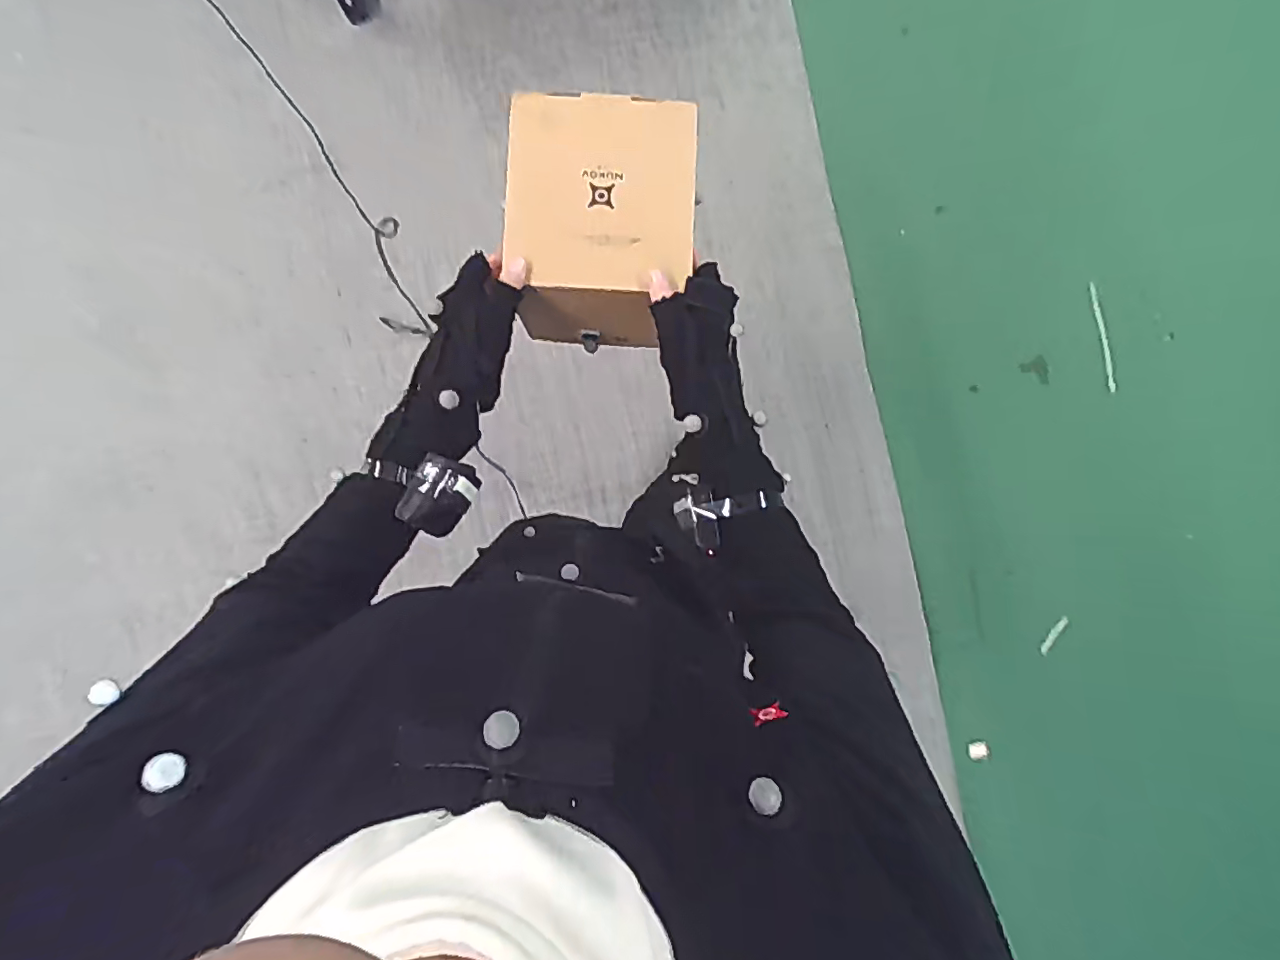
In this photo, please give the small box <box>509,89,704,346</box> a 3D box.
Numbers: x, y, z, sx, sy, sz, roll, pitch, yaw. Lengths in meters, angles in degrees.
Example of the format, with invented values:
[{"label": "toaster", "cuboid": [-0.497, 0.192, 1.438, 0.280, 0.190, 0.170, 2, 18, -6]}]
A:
[{"label": "small box", "cuboid": [-0.030, -0.250, 0.551, 0.168, 0.176, 0.179, 2, 88, 0]}]
